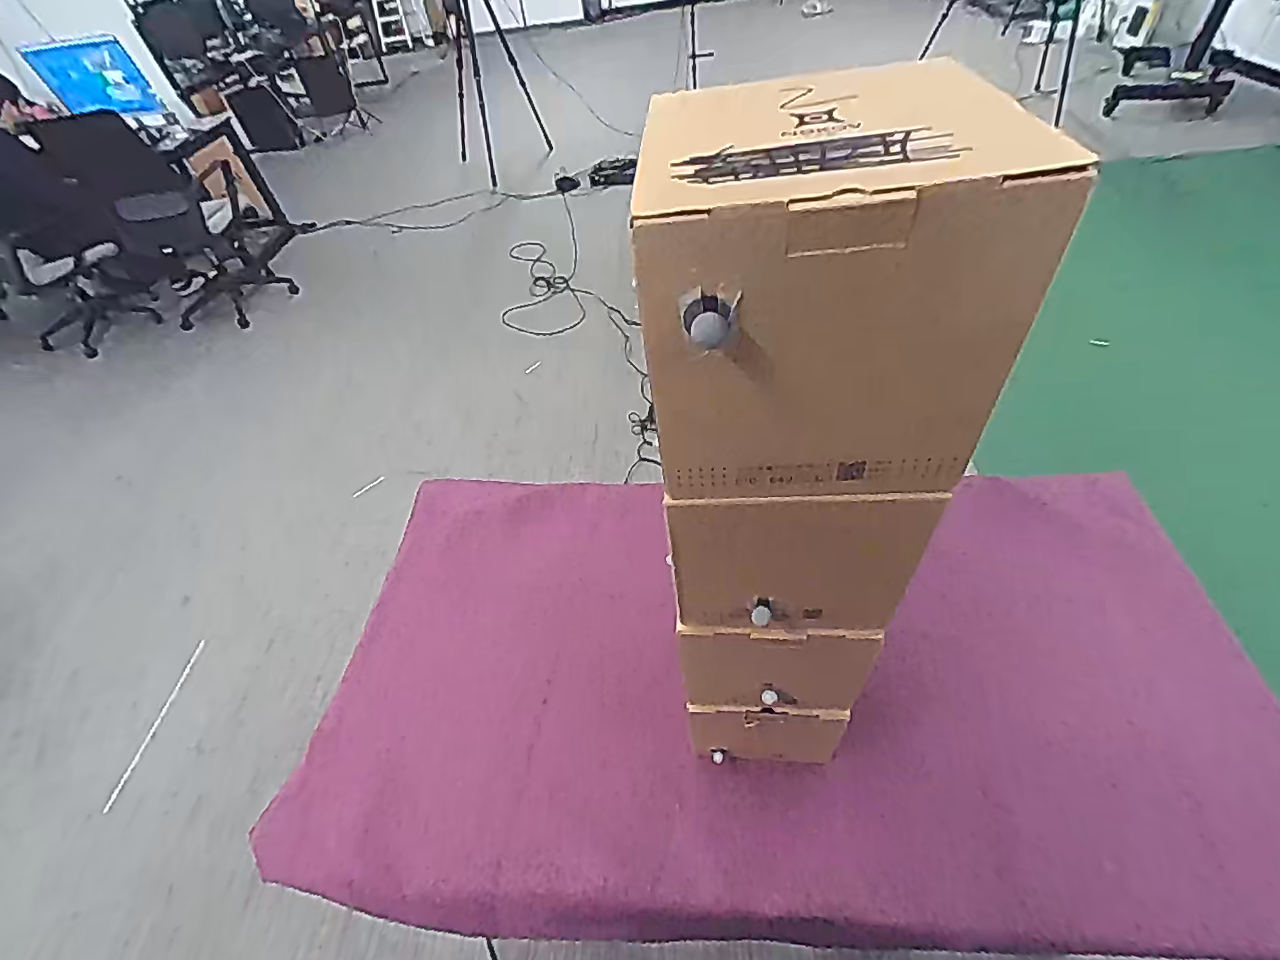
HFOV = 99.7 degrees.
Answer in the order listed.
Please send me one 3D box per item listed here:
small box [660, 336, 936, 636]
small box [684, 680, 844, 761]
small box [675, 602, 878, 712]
[{"bbox_3d":[0.109,0.005,0.439,0.168,0.176,0.179,-1,48,8],"label":"small box"},{"bbox_3d":[0.146,0.232,0.671,0.168,0.176,0.179,0,48,8],"label":"small box"},{"bbox_3d":[0.127,0.117,0.556,0.168,0.176,0.179,-1,48,9],"label":"small box"}]
